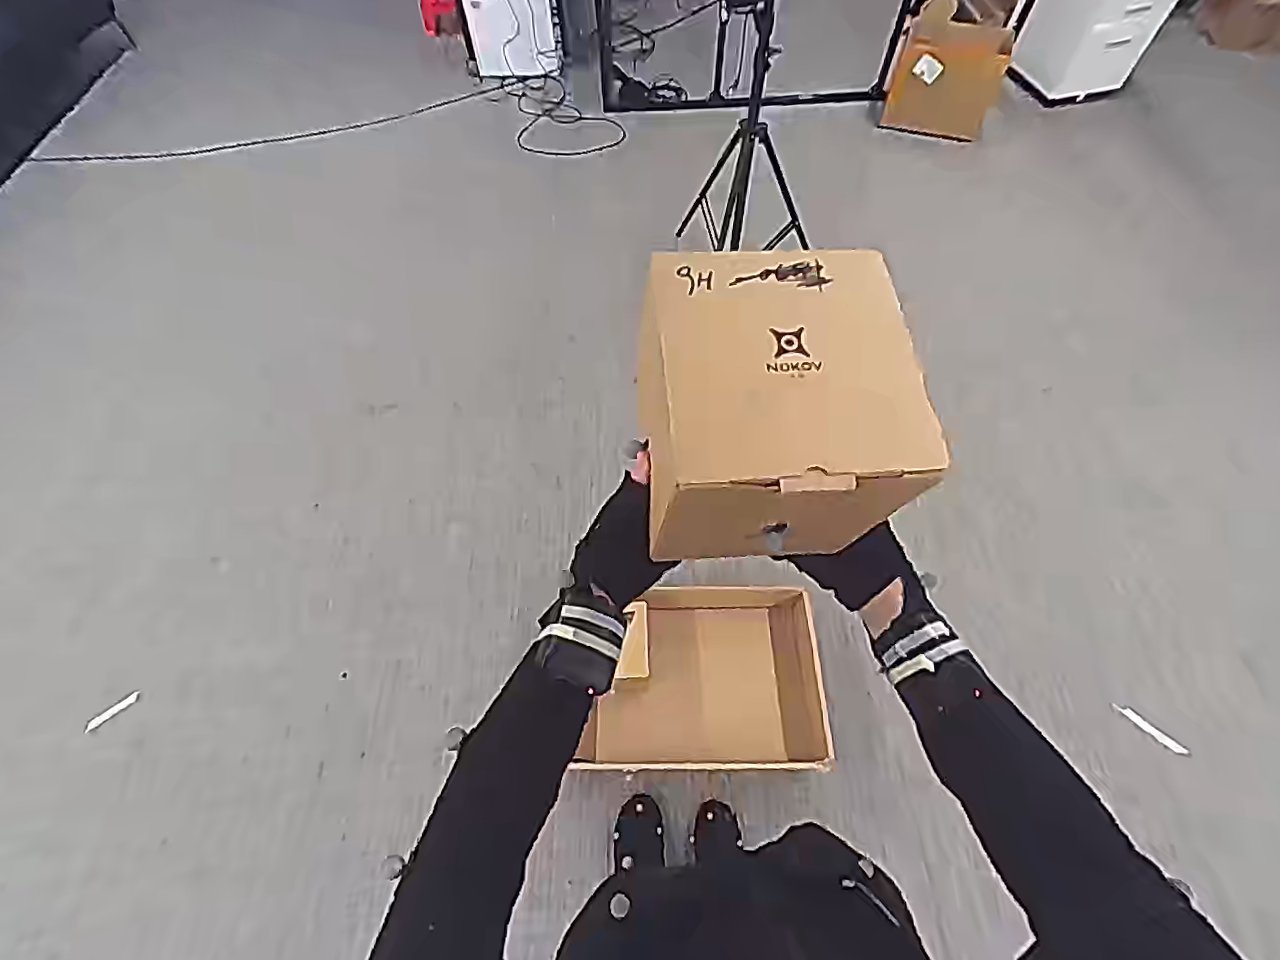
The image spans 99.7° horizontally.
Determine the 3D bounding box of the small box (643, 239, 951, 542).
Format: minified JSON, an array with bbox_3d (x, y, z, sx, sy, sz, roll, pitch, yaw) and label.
[{"bbox_3d":[0.092,-0.054,0.413,0.168,0.176,0.179,-2,68,-5],"label":"small box"}]
